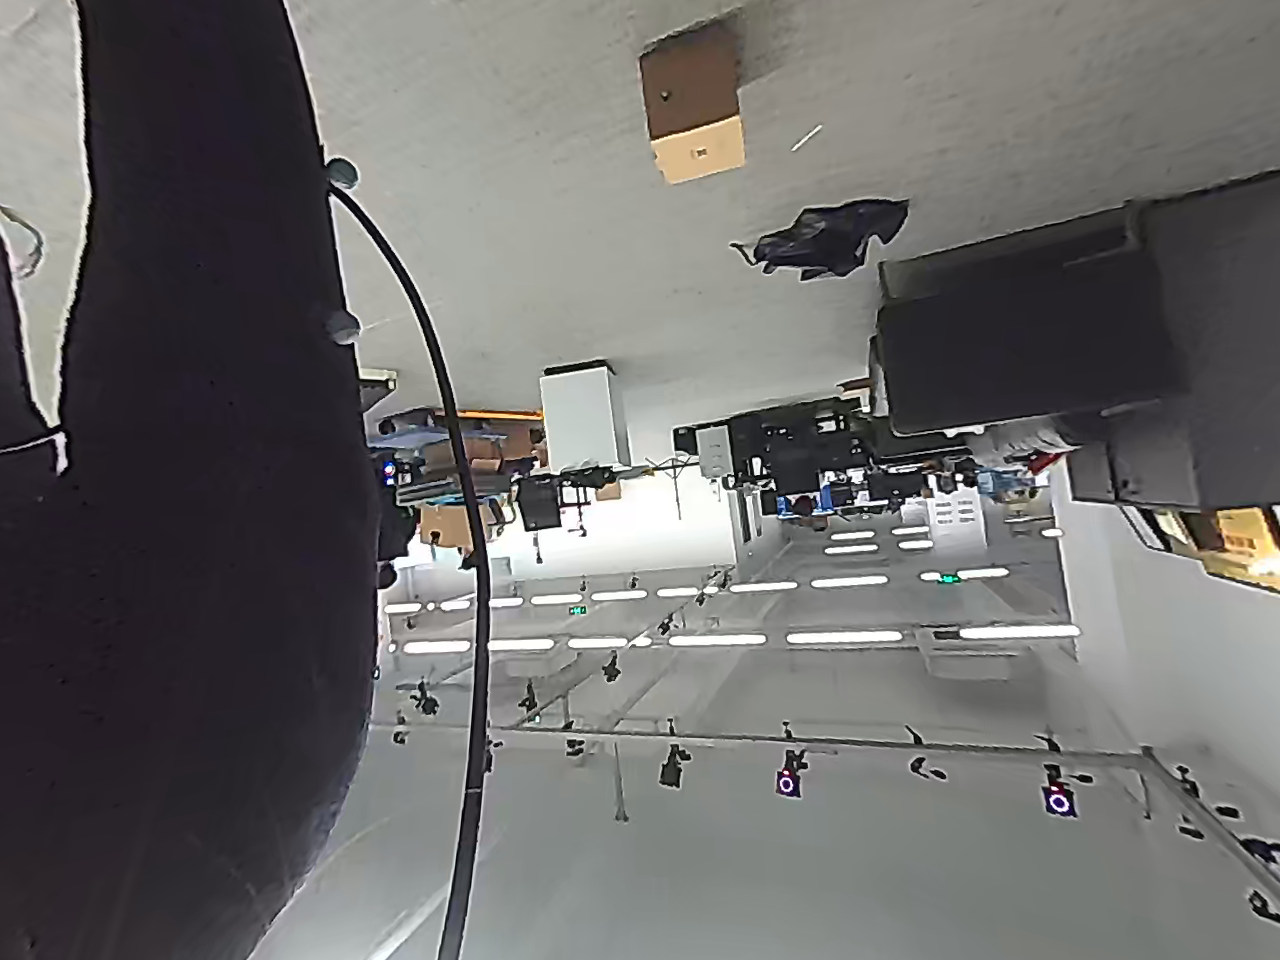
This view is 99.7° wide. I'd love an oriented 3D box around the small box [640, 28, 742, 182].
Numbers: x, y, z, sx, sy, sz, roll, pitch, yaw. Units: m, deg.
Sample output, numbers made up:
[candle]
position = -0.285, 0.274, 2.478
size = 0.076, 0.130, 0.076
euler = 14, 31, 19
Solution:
[small box]
position = 0.103, -0.740, 1.079
size = 0.179, 0.176, 0.168
euler = -8, 179, 14
